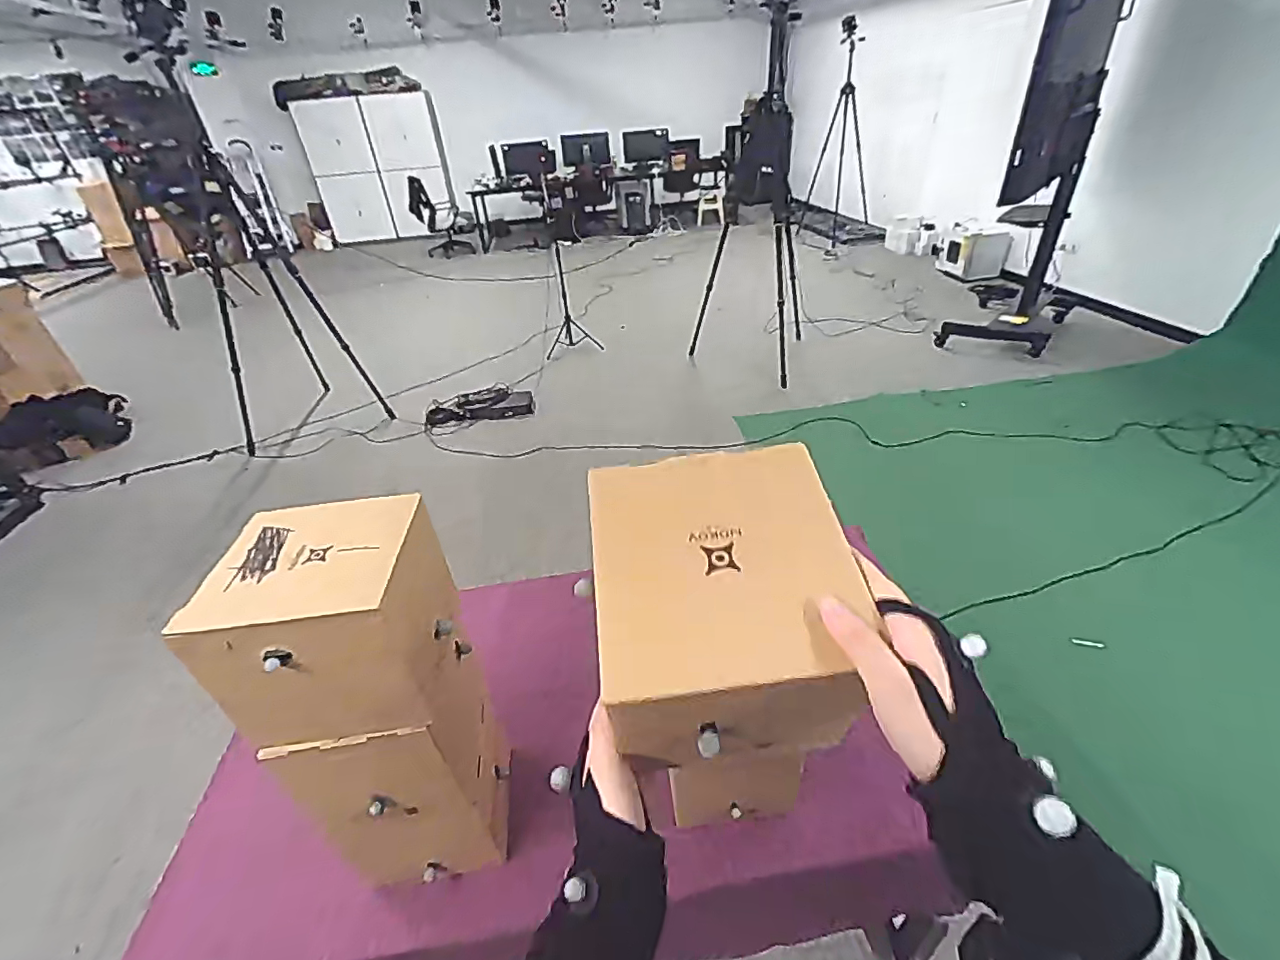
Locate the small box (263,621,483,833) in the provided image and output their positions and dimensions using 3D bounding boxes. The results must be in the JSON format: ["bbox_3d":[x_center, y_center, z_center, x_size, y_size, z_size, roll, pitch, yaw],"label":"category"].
[{"bbox_3d":[-0.292,0.278,0.642,0.168,0.176,0.179,-8,35,-4],"label":"small box"}]

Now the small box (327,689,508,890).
[{"bbox_3d":[-0.280,0.416,0.733,0.179,0.176,0.168,-8,35,-6],"label":"small box"}]

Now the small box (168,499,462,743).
[{"bbox_3d":[-0.299,0.142,0.549,0.179,0.176,0.168,-6,35,-3],"label":"small box"}]

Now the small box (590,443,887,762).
[{"bbox_3d":[0.058,0.099,0.414,0.168,0.176,0.179,-8,48,-1],"label":"small box"}]
